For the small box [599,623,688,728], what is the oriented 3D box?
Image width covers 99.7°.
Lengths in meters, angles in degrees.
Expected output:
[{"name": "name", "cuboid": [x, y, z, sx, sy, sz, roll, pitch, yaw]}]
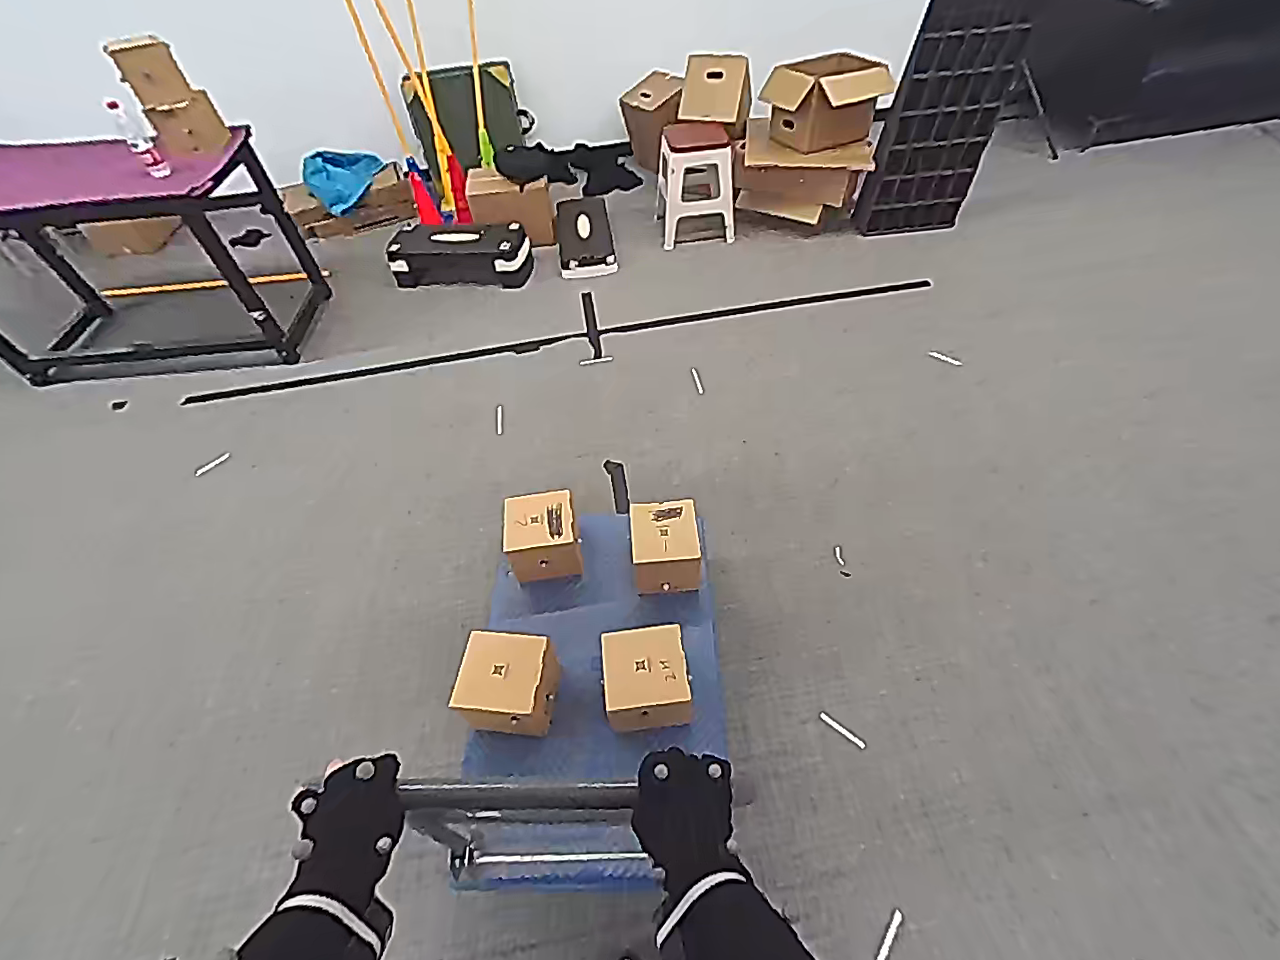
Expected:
[{"name": "small box", "cuboid": [0.010, 0.434, 1.189, 0.179, 0.176, 0.168, -6, 52, -1]}]

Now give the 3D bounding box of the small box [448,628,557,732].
[{"name": "small box", "cuboid": [-0.294, 0.446, 1.199, 0.179, 0.176, 0.168, 4, 51, 5]}]

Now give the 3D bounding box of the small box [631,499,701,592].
[{"name": "small box", "cuboid": [0.062, 0.170, 1.395, 0.168, 0.176, 0.179, -4, 52, 0]}]
